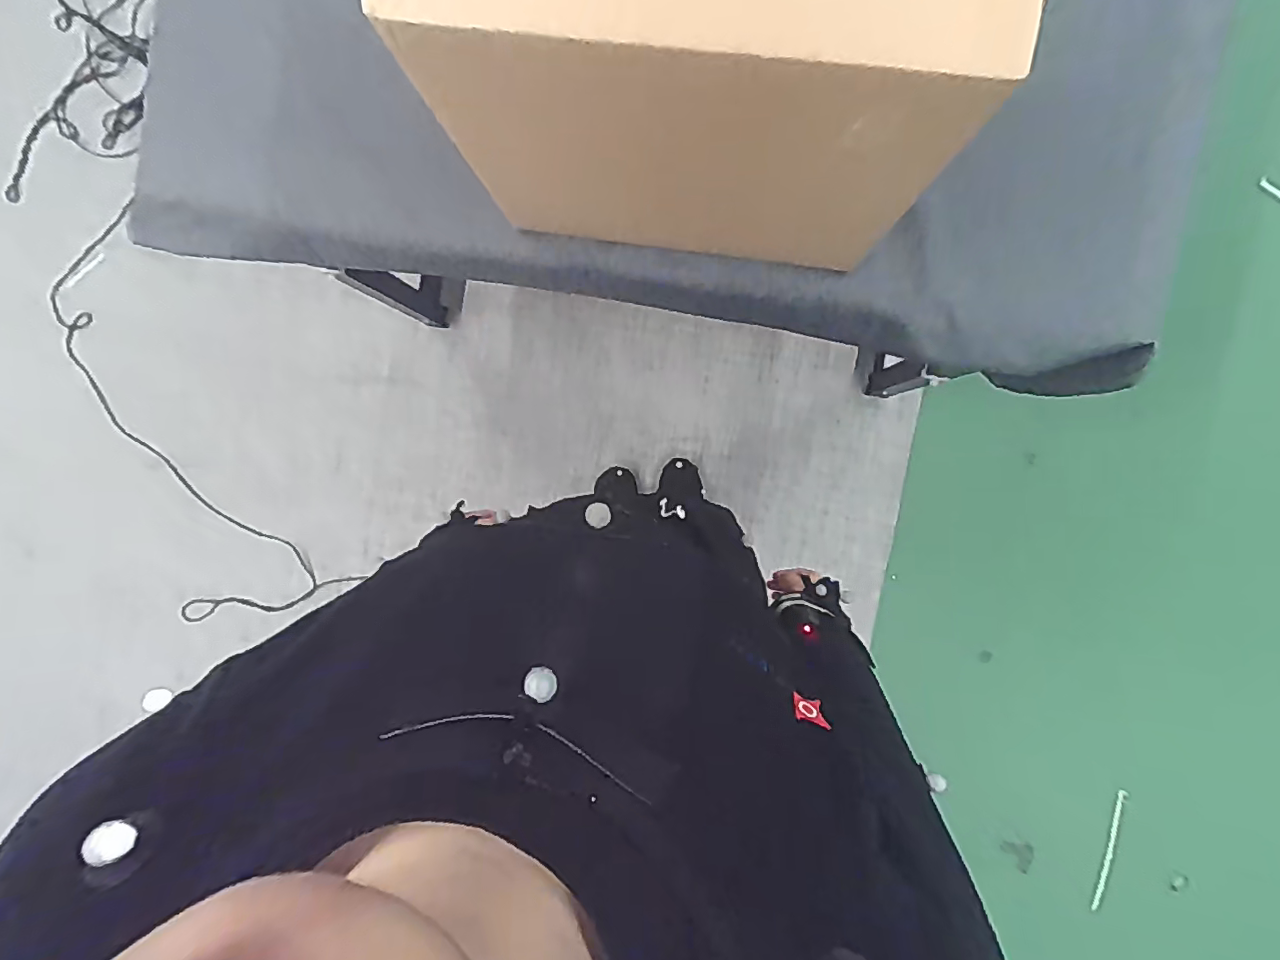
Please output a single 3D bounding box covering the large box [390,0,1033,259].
[{"bbox_3d":[0.059,-0.422,0.478,0.408,0.320,0.320,8,93,2],"label":"large box"}]
